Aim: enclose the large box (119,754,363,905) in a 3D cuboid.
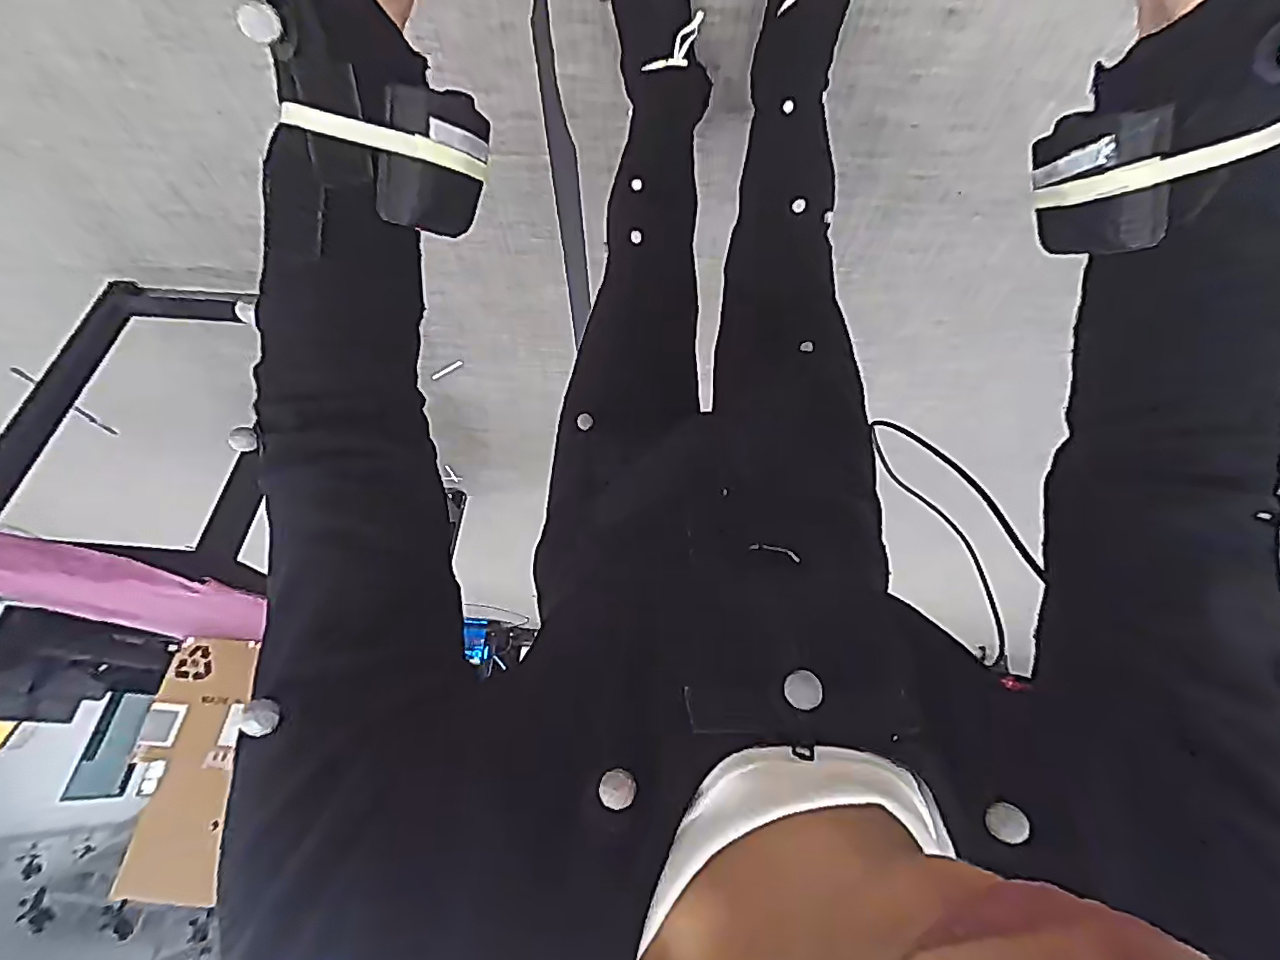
[{"bbox_3d":[-1.080,0.956,1.520,0.408,0.320,0.320,3,154,2],"label":"large box"}]
